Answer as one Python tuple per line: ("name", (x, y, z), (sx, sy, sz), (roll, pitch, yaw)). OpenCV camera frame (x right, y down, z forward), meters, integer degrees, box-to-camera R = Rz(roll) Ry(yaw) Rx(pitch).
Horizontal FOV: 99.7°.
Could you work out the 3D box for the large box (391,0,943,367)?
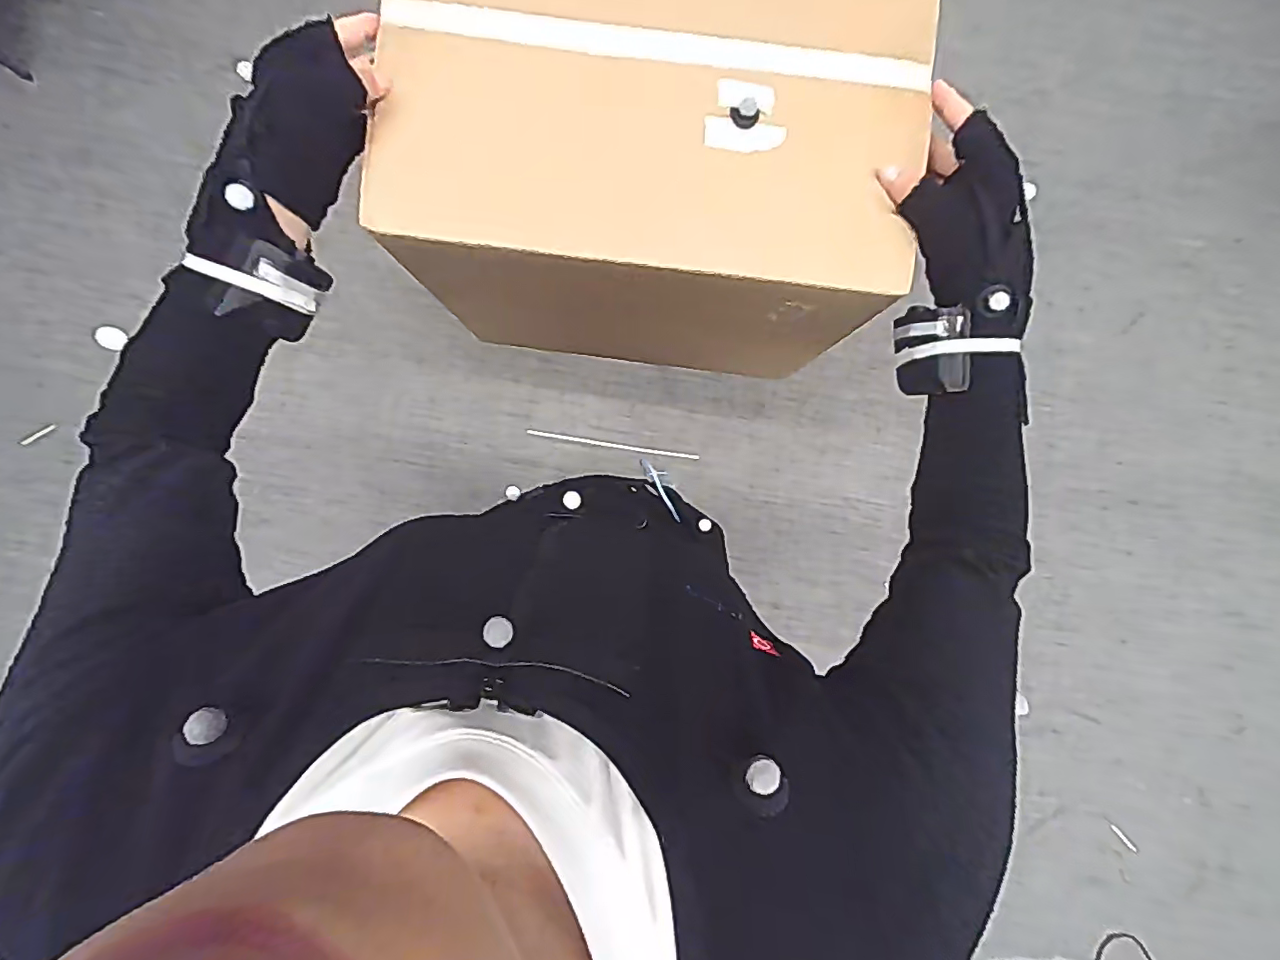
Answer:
("large box", (0.020, -0.318, 0.554), (0.408, 0.320, 0.320), (6, 90, -2))
